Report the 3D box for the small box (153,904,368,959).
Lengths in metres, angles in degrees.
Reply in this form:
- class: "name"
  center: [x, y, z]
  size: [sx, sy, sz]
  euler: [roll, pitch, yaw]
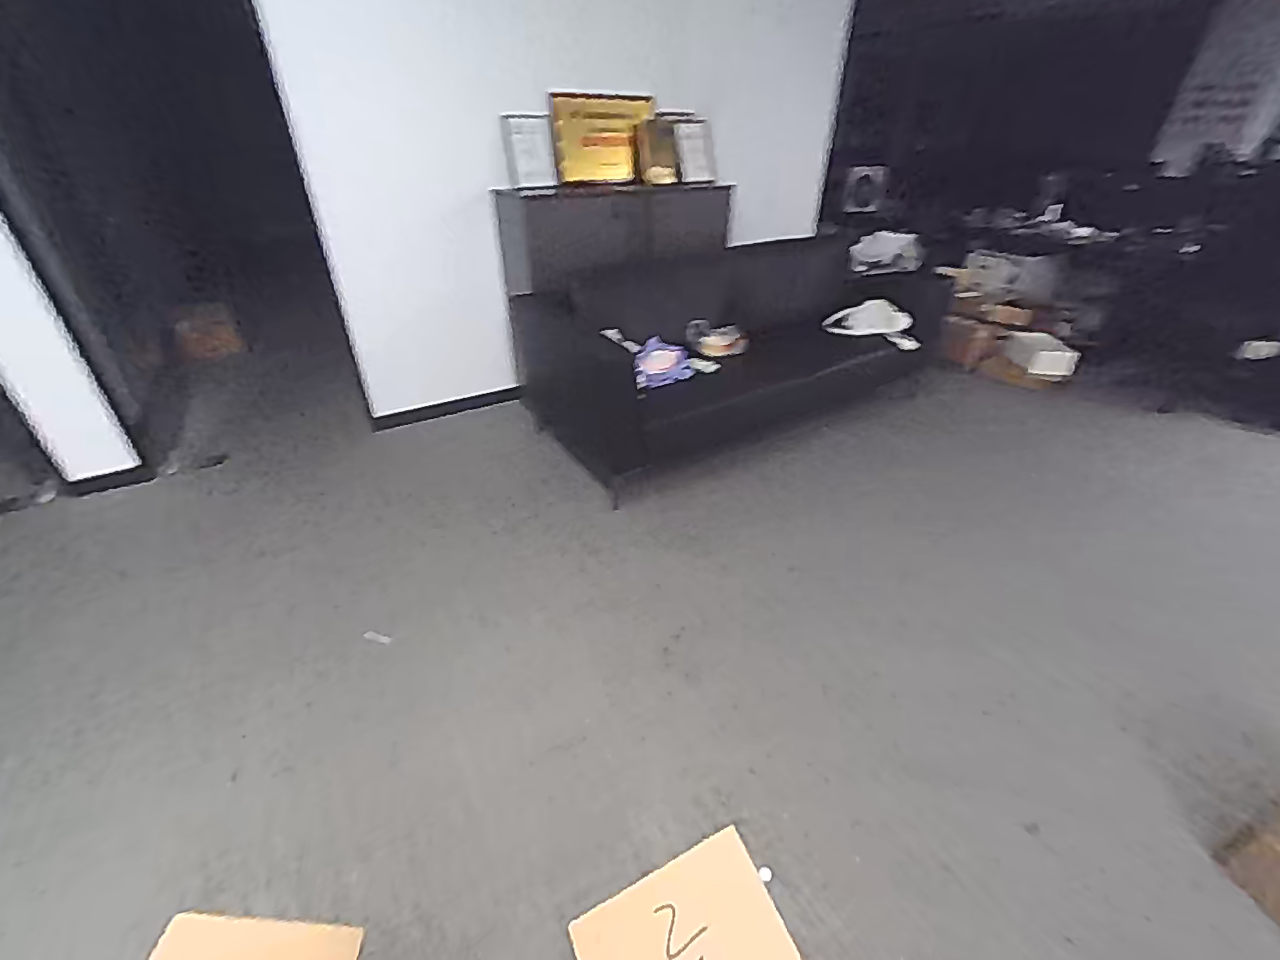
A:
- class: "small box"
  center: [-0.366, 0.517, 0.473]
  size: [0.168, 0.176, 0.179]
  euler: [18, 31, -13]
